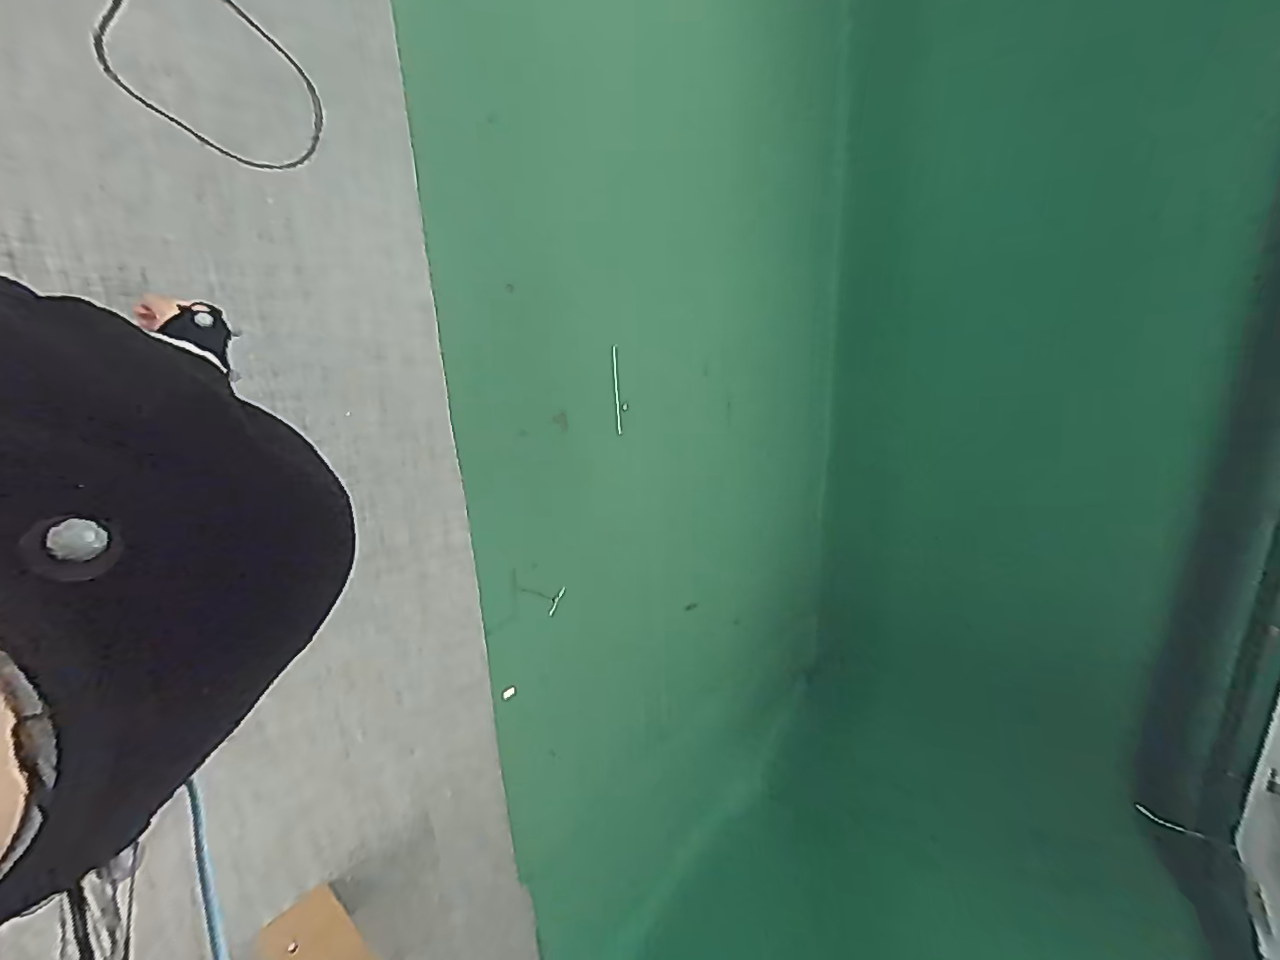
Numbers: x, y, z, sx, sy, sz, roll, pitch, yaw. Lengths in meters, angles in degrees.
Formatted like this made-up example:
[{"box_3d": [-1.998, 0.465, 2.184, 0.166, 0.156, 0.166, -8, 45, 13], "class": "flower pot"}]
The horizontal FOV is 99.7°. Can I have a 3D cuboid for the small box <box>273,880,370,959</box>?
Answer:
[{"box_3d": [-0.894, 1.287, 1.511, 0.179, 0.176, 0.168, -22, 115, -47], "class": "small box"}]
